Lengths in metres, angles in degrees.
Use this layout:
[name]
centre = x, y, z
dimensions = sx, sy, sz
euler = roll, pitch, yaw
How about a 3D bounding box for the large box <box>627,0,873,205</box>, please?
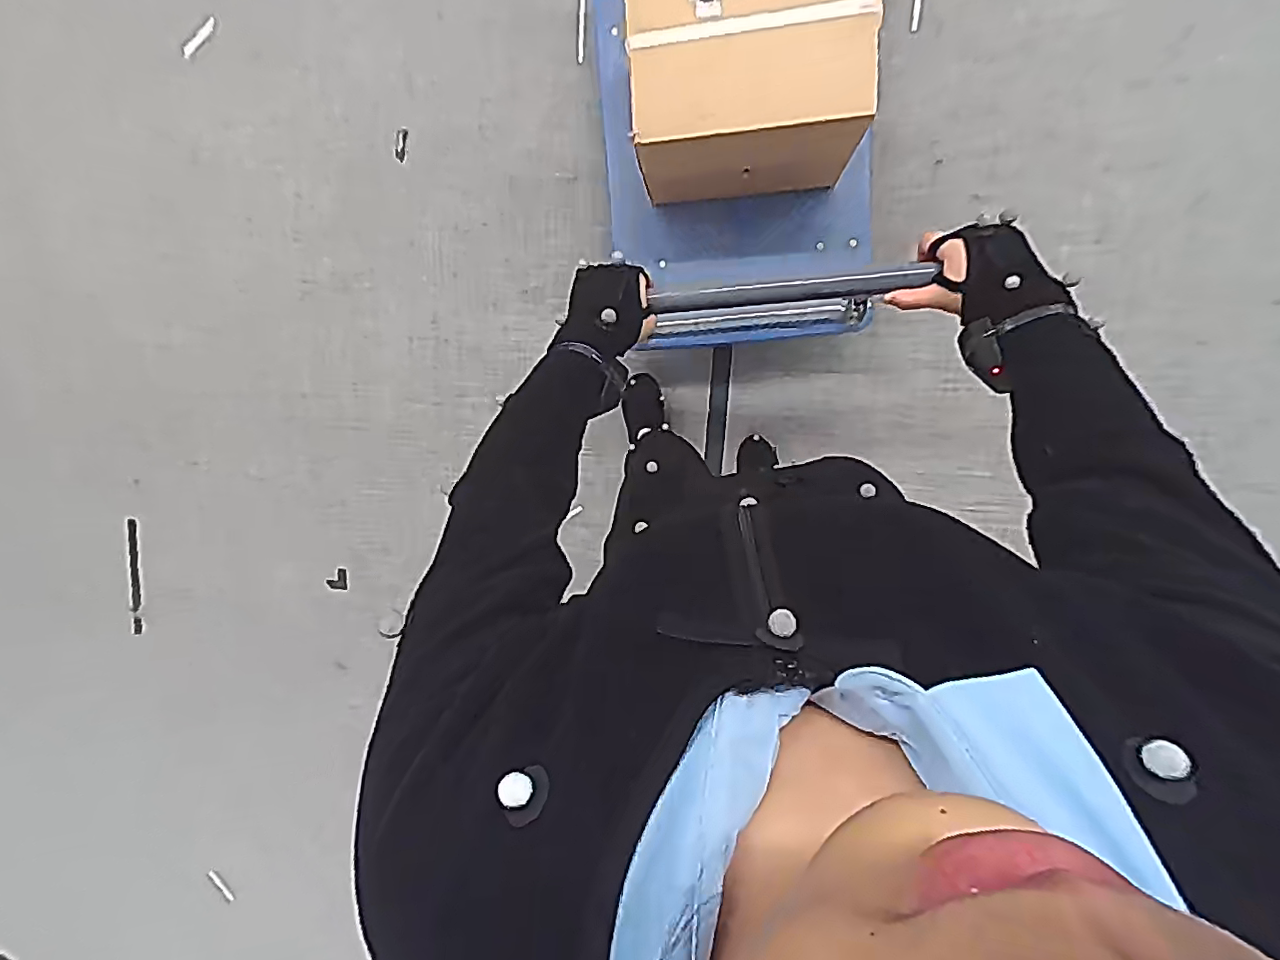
[large box]
centre = 0.204, -0.770, 1.055
dimensions = 0.408, 0.320, 0.320
euler = -3, 97, 9
